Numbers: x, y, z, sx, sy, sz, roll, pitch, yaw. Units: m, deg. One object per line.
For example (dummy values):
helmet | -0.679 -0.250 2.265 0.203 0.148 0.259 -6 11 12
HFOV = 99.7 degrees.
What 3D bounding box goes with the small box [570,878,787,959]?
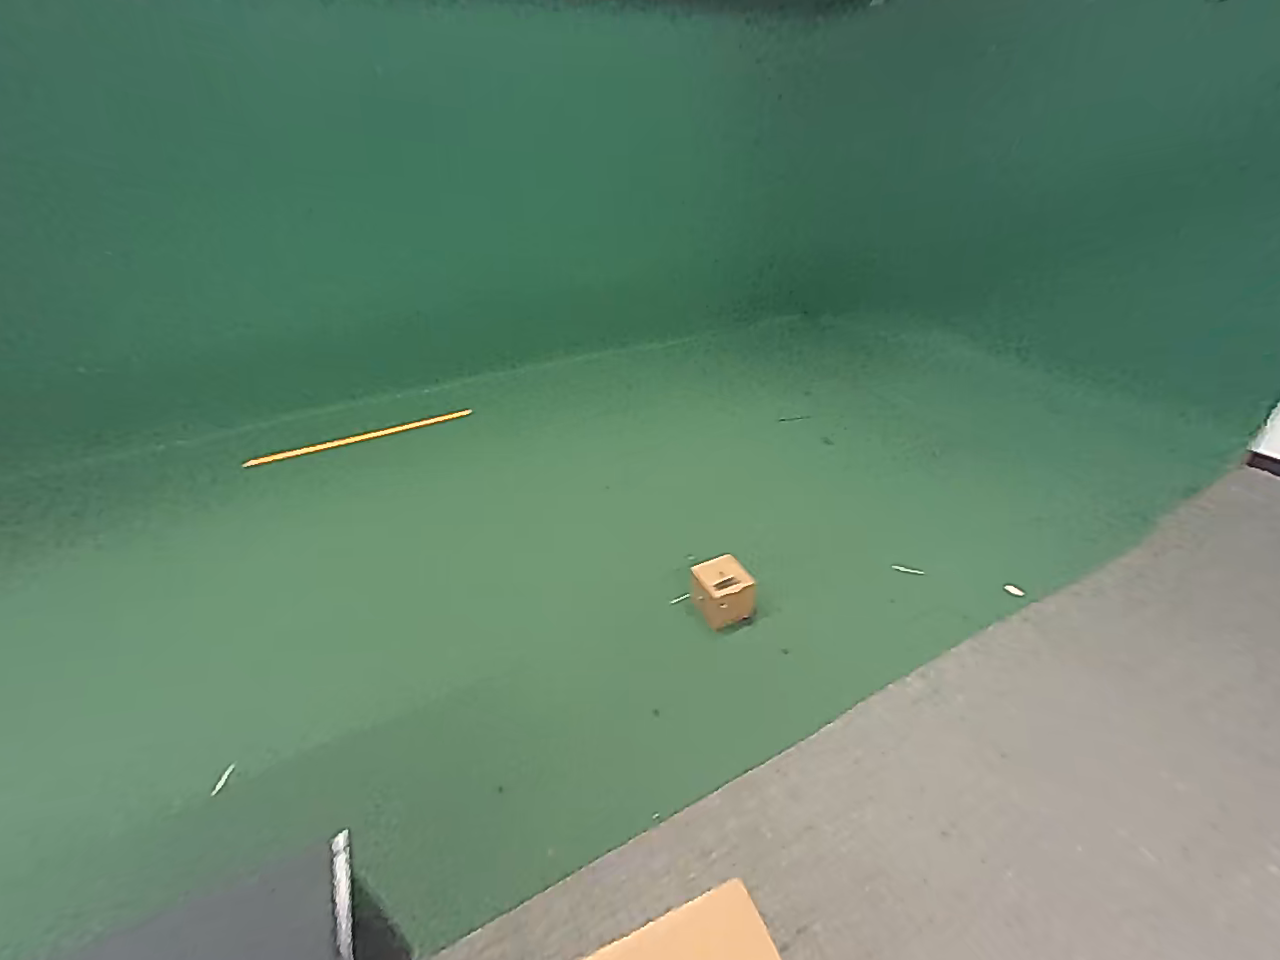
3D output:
small box | 0.015 0.375 0.293 0.168 0.176 0.179 -7 37 -25
